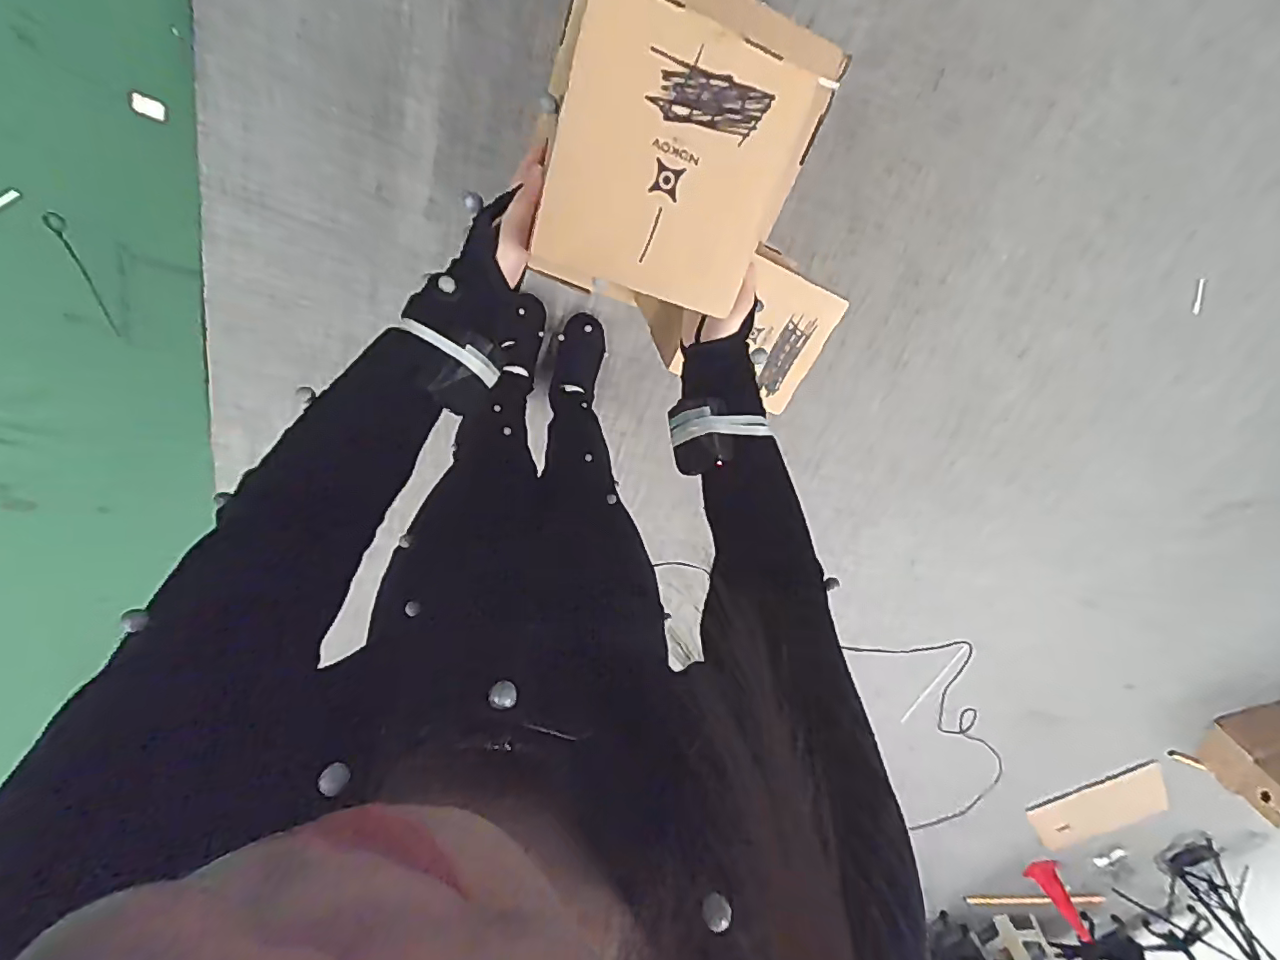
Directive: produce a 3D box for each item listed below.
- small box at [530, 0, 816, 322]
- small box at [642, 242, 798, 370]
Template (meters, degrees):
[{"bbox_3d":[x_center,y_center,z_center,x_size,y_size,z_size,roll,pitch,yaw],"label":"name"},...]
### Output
[{"bbox_3d":[0.006,-0.257,0.453,0.168,0.176,0.179,13,114,-18],"label":"small box"},{"bbox_3d":[0.114,-0.307,0.869,0.168,0.176,0.179,18,115,-18],"label":"small box"}]
